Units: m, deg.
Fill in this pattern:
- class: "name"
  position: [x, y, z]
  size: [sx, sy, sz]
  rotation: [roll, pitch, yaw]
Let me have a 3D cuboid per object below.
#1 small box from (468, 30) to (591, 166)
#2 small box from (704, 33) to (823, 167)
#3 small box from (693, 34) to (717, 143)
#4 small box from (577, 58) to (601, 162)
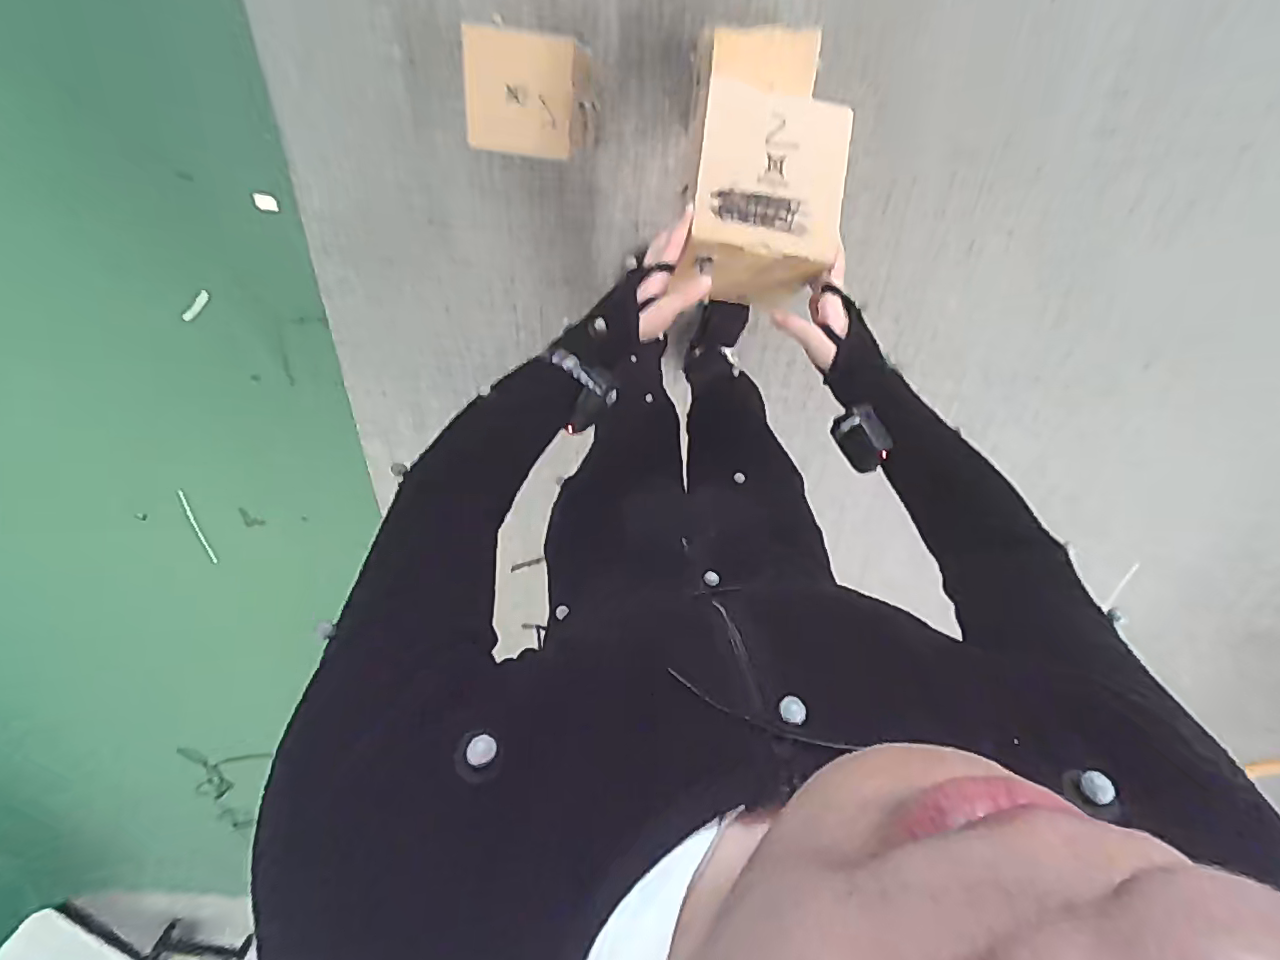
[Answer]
- class: "small box"
  position: [-0.186, -0.656, 0.942]
  size: [0.179, 0.176, 0.168]
  rotation: [6, 124, -2]
- class: "small box"
  position: [0.200, -0.647, 0.931]
  size: [0.168, 0.176, 0.179]
  rotation: [1, 123, 2]
- class: "small box"
  position: [0.201, -0.750, 1.058]
  size: [0.179, 0.176, 0.168]
  rotation: [4, 124, -1]
- class: "small box"
  position: [-0.172, -0.746, 1.080]
  size: [0.179, 0.176, 0.168]
  rotation: [5, 123, -2]
